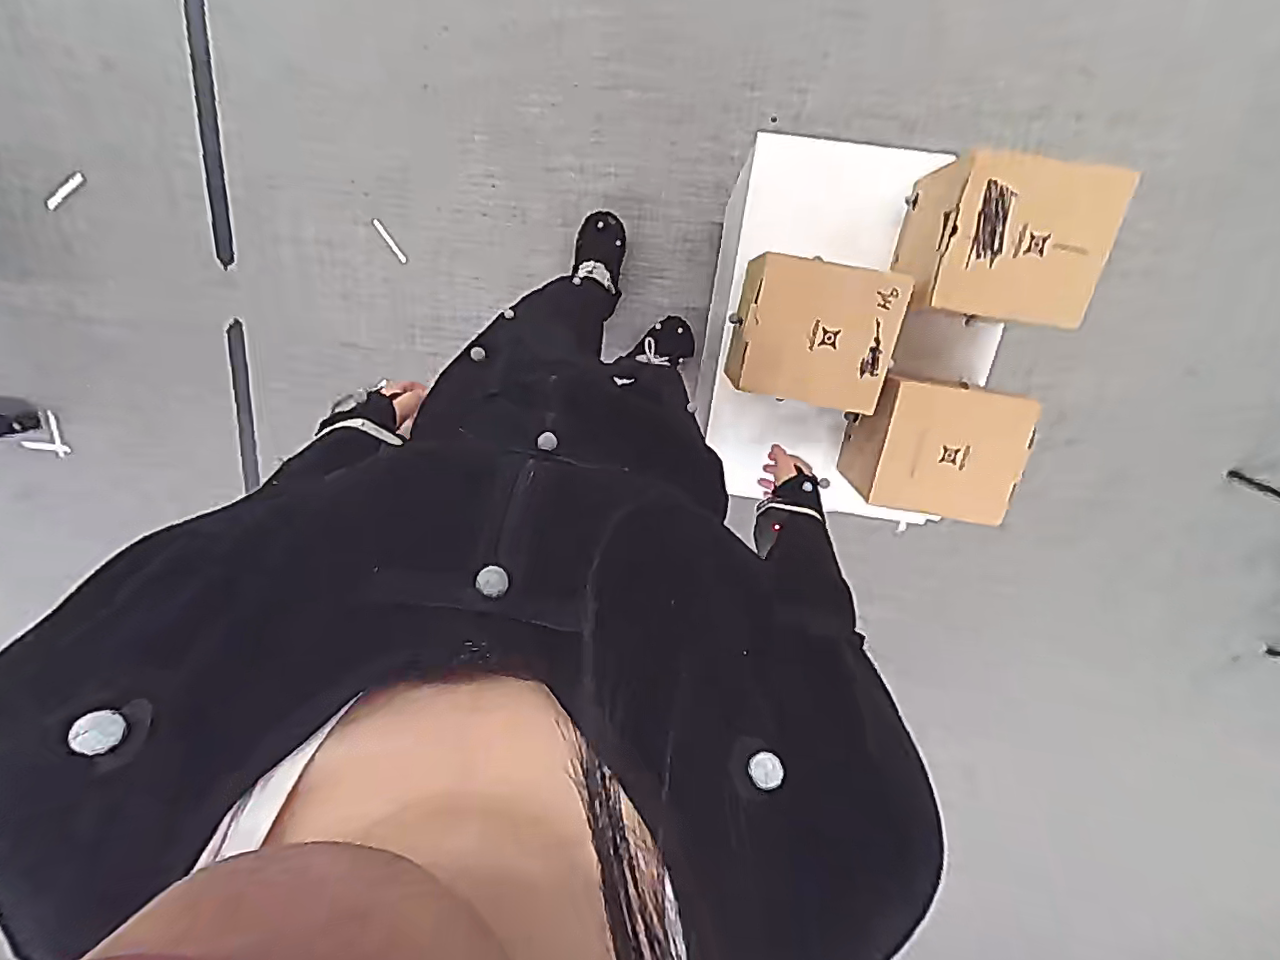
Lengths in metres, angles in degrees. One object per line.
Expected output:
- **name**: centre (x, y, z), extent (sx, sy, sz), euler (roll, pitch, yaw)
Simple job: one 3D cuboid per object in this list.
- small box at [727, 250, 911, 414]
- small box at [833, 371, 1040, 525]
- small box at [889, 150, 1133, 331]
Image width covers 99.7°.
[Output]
- **small box**: centre (0.219, -0.197, 0.722), extent (0.179, 0.176, 0.168), euler (11, 109, 1)
- **small box**: centre (0.395, -0.054, 0.757), extent (0.179, 0.176, 0.168), euler (10, 108, 3)
- **small box**: centre (0.432, -0.287, 0.676), extent (0.179, 0.176, 0.168), euler (10, 109, 1)
